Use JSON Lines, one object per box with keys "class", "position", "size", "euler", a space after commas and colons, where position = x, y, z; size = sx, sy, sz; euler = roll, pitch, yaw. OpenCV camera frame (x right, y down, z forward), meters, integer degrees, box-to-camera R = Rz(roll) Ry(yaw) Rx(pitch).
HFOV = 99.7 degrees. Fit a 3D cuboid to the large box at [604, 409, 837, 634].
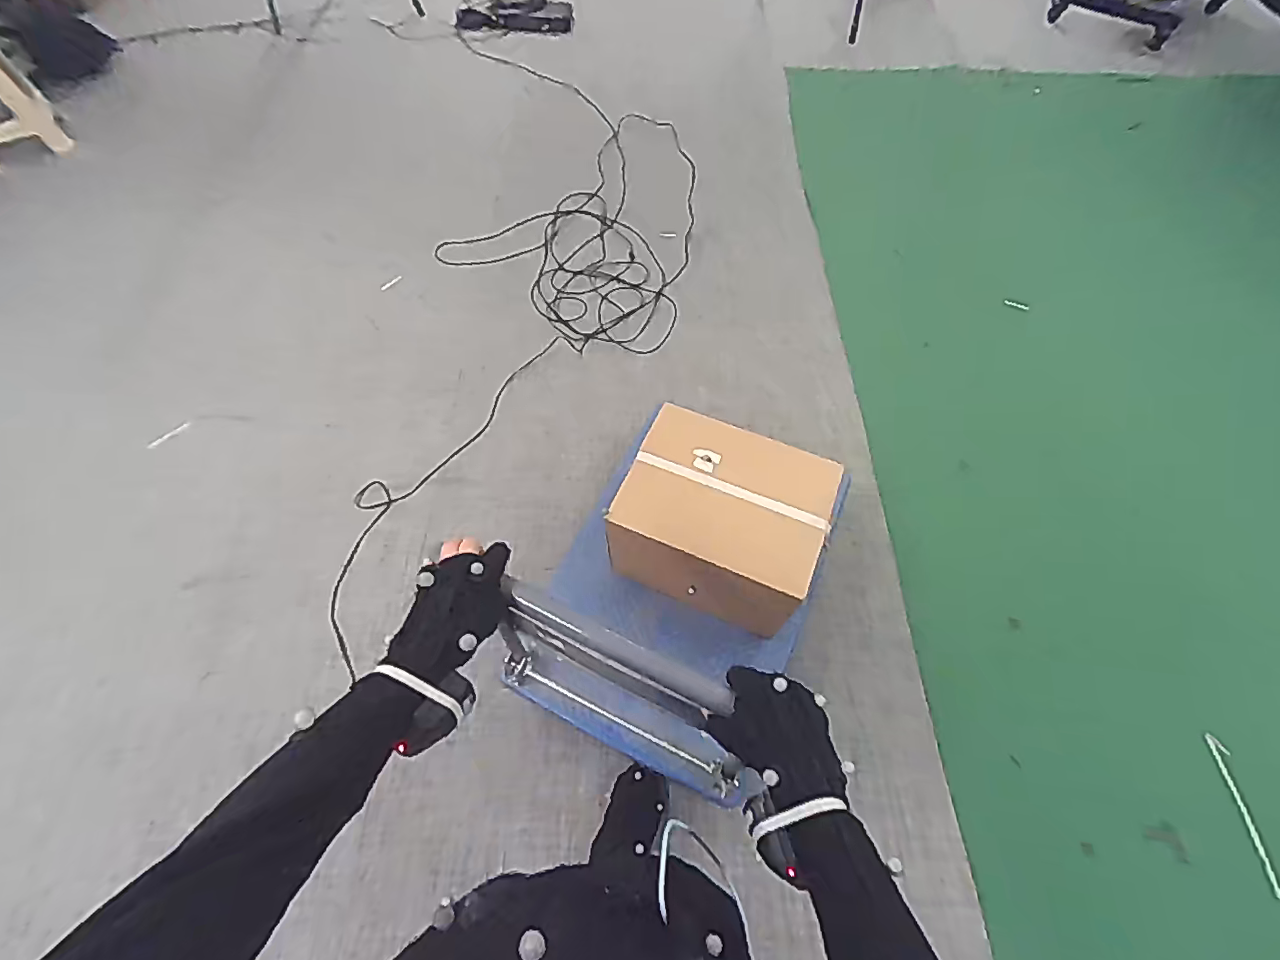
{"class": "large box", "position": [0.173, 0.102, 1.218], "size": [0.408, 0.320, 0.320], "euler": [21, 62, 12]}
